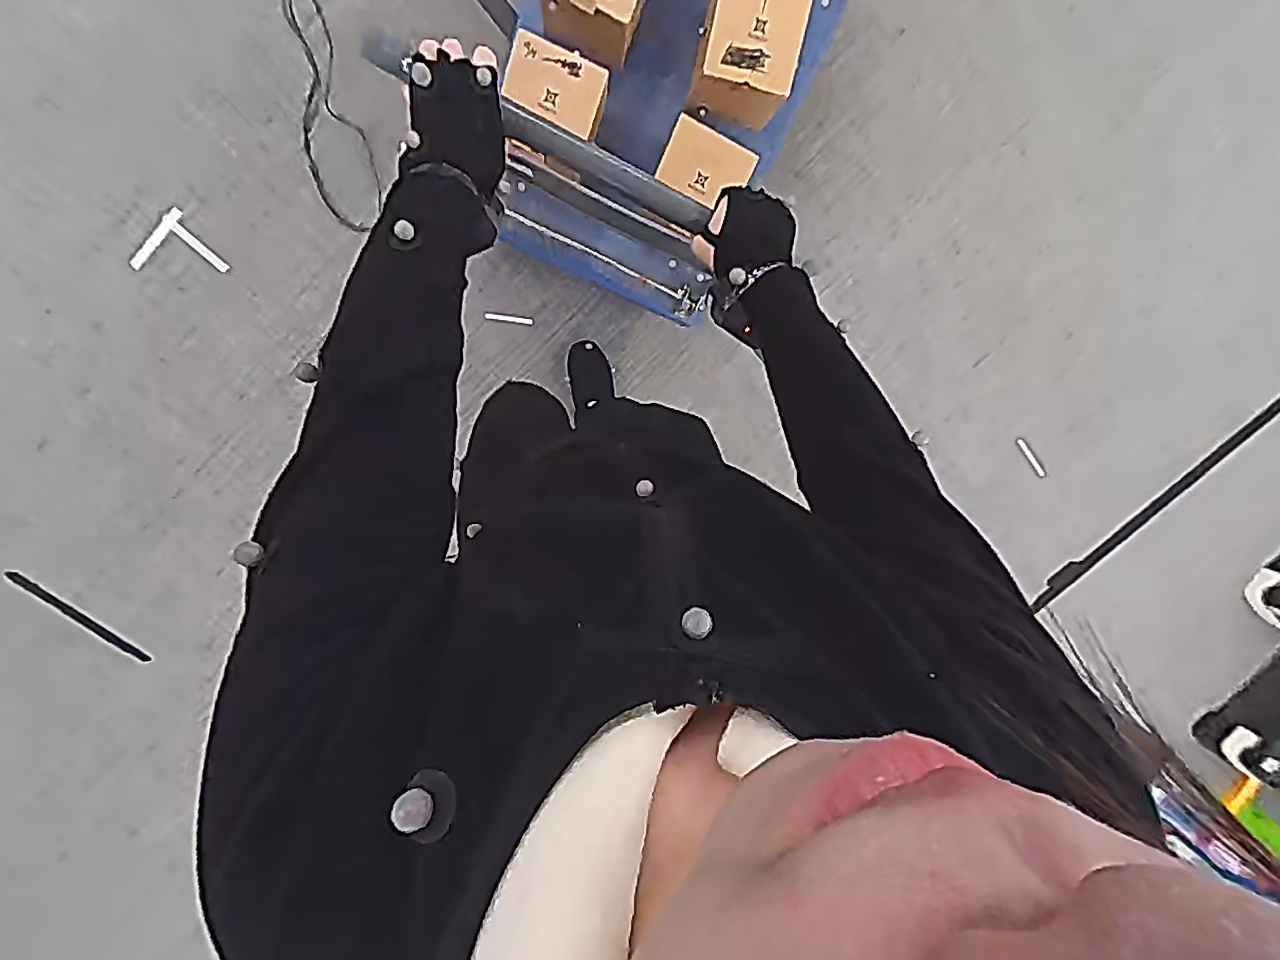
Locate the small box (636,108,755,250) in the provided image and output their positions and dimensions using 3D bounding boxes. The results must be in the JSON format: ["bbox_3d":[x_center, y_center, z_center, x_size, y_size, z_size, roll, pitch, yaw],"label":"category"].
[{"bbox_3d":[0.099,-0.585,1.082,0.168,0.176,0.179,23,101,-13],"label":"small box"}]

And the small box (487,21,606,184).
[{"bbox_3d":[-0.172,-0.692,1.019,0.168,0.176,0.179,19,103,-12],"label":"small box"}]

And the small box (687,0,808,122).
[{"bbox_3d":[0.194,-0.818,1.025,0.168,0.176,0.179,10,103,-9],"label":"small box"}]
